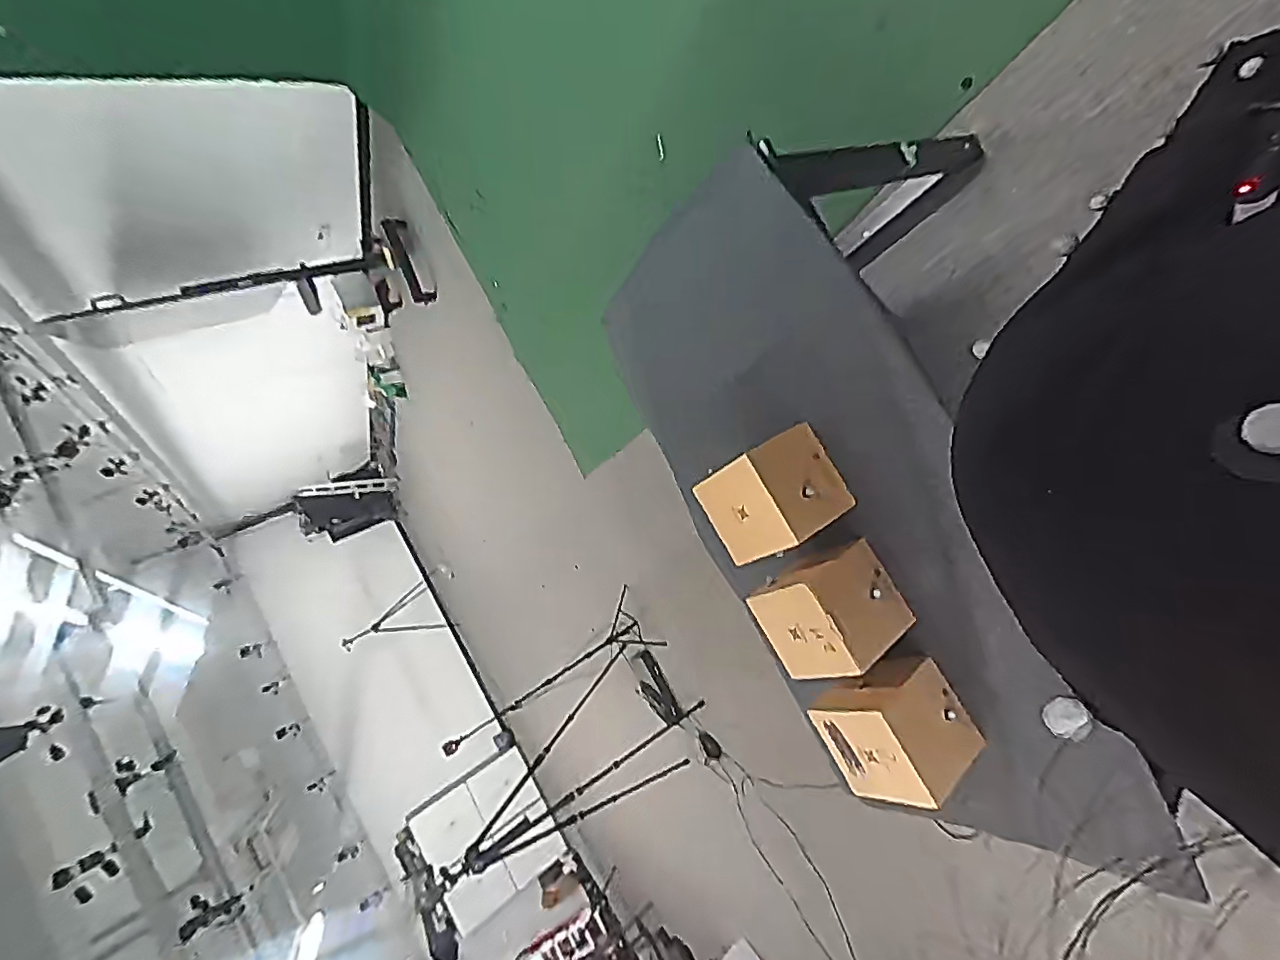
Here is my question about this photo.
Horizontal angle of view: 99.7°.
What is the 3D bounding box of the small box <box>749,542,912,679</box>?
[{"bbox_3d":[0.336,0.232,0.960,0.168,0.176,0.179,60,148,7],"label":"small box"}]
